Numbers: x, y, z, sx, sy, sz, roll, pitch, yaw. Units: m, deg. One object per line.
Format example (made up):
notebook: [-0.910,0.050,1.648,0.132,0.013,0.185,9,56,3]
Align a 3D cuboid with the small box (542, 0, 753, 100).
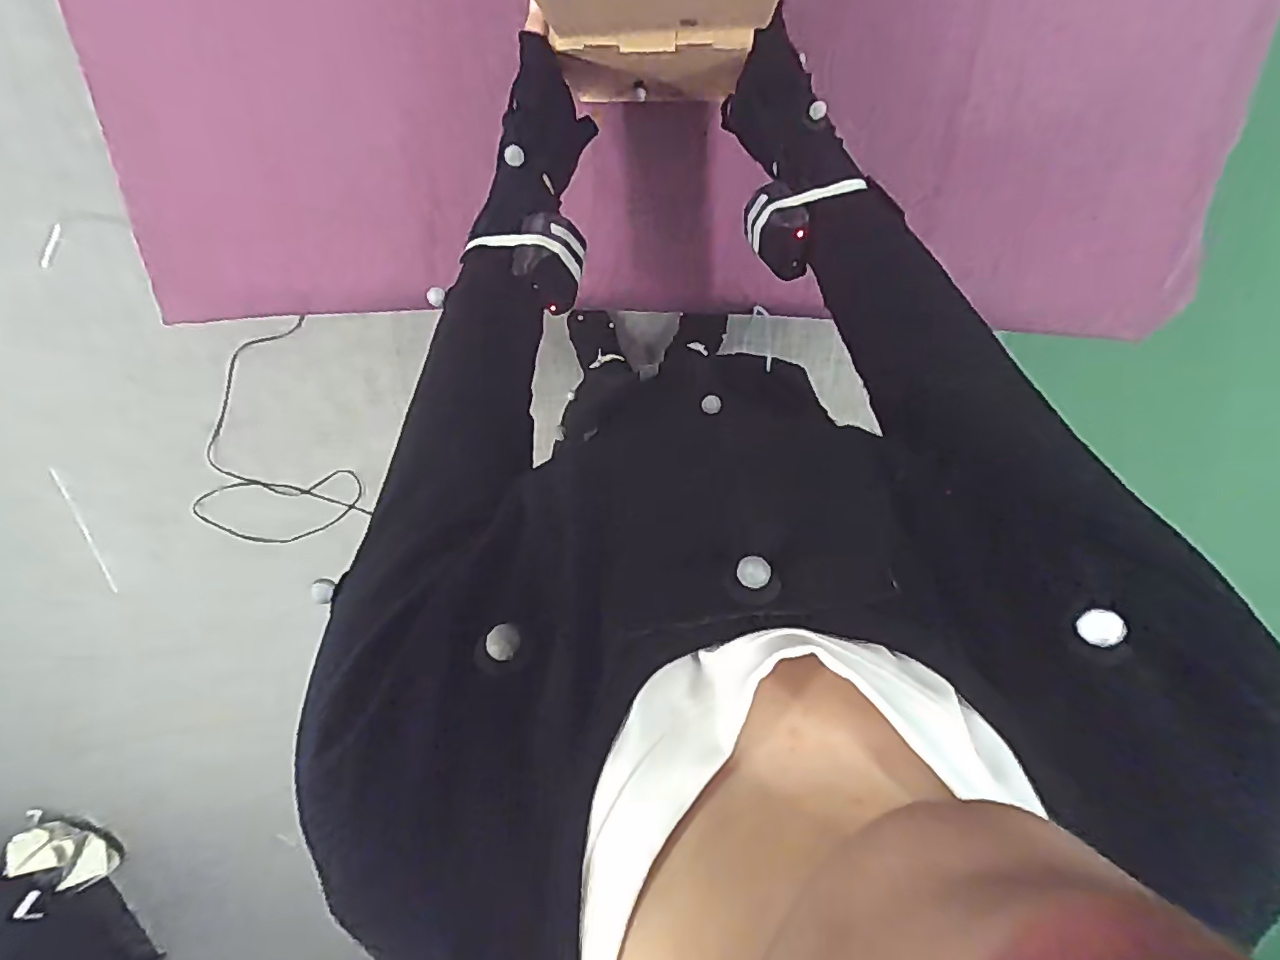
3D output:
small box: [0.011,-0.453,0.465,0.168,0.176,0.179,2,115,4]
